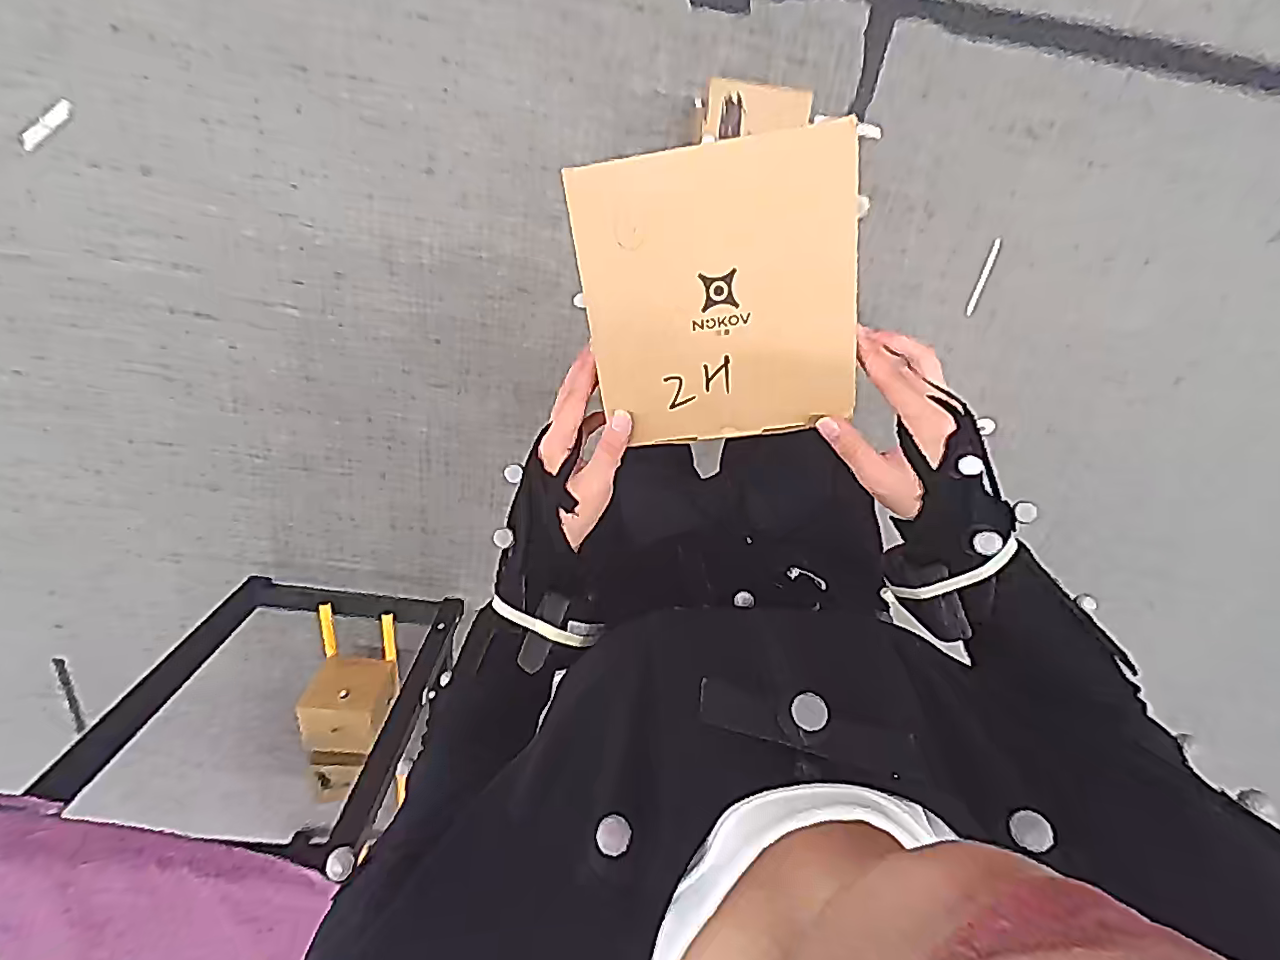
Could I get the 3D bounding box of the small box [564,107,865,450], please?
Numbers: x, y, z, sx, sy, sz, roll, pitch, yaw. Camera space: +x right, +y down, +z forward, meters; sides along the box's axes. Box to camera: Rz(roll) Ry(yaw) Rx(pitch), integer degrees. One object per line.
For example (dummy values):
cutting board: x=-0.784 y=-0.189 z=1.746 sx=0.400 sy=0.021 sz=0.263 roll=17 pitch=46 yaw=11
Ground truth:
small box: x=0.054 y=-0.137 z=0.394 sx=0.168 sy=0.176 sz=0.179 roll=-6 pitch=113 yaw=8

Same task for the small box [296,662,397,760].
small box: x=-0.755 y=0.597 z=1.408 sx=0.179 sy=0.176 sz=0.168 roll=6 pitch=116 yaw=-6

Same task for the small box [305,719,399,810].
small box: x=-0.789 y=0.780 z=1.498 sx=0.179 sy=0.176 sz=0.168 roll=6 pitch=116 yaw=-7
